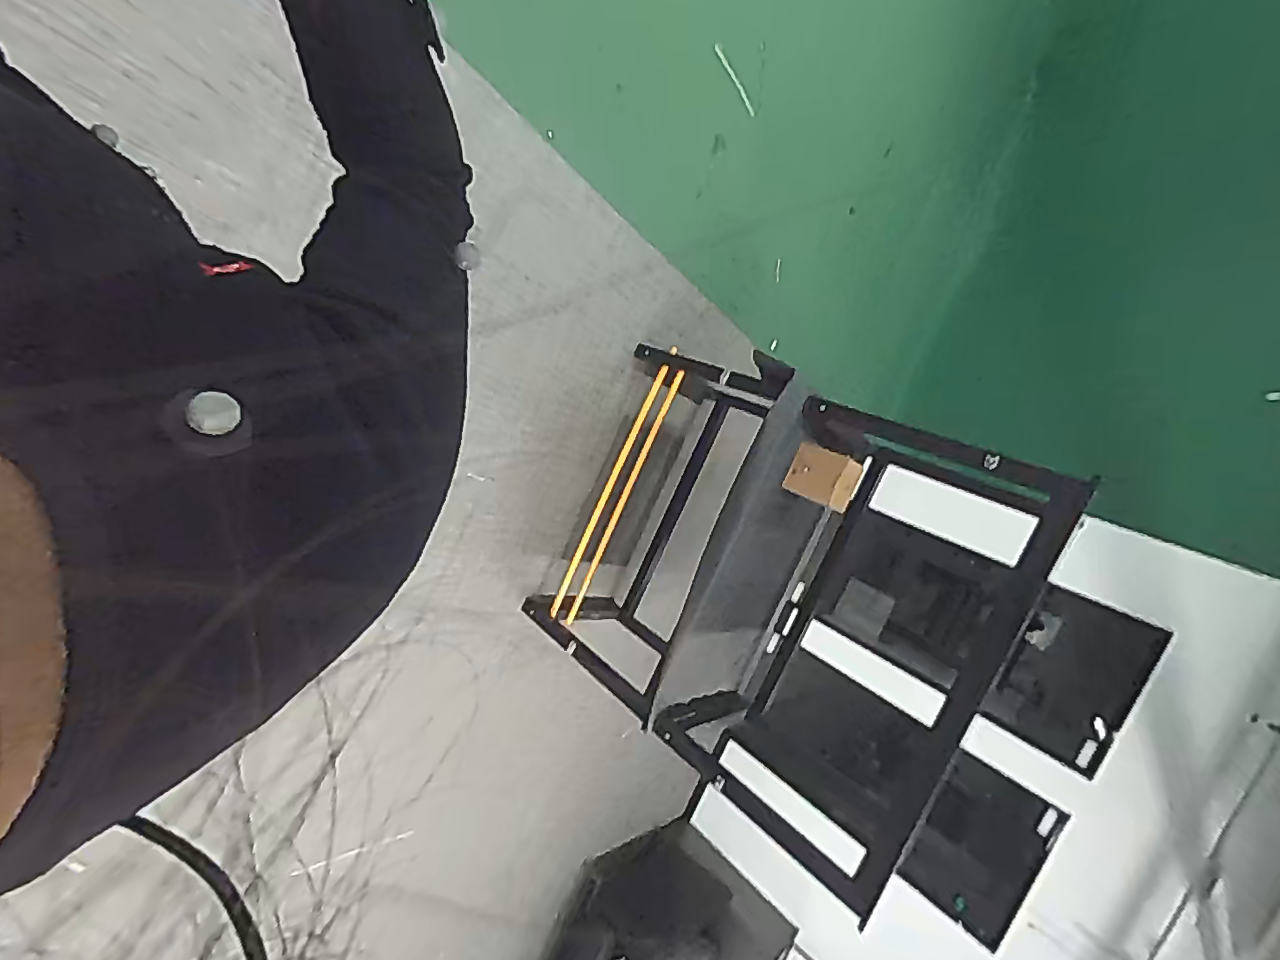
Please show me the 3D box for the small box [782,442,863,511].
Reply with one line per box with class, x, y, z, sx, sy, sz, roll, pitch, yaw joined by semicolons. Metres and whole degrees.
small box;0.597;-0.013;1.771;0.179;0.176;0.168;15;100;-52
